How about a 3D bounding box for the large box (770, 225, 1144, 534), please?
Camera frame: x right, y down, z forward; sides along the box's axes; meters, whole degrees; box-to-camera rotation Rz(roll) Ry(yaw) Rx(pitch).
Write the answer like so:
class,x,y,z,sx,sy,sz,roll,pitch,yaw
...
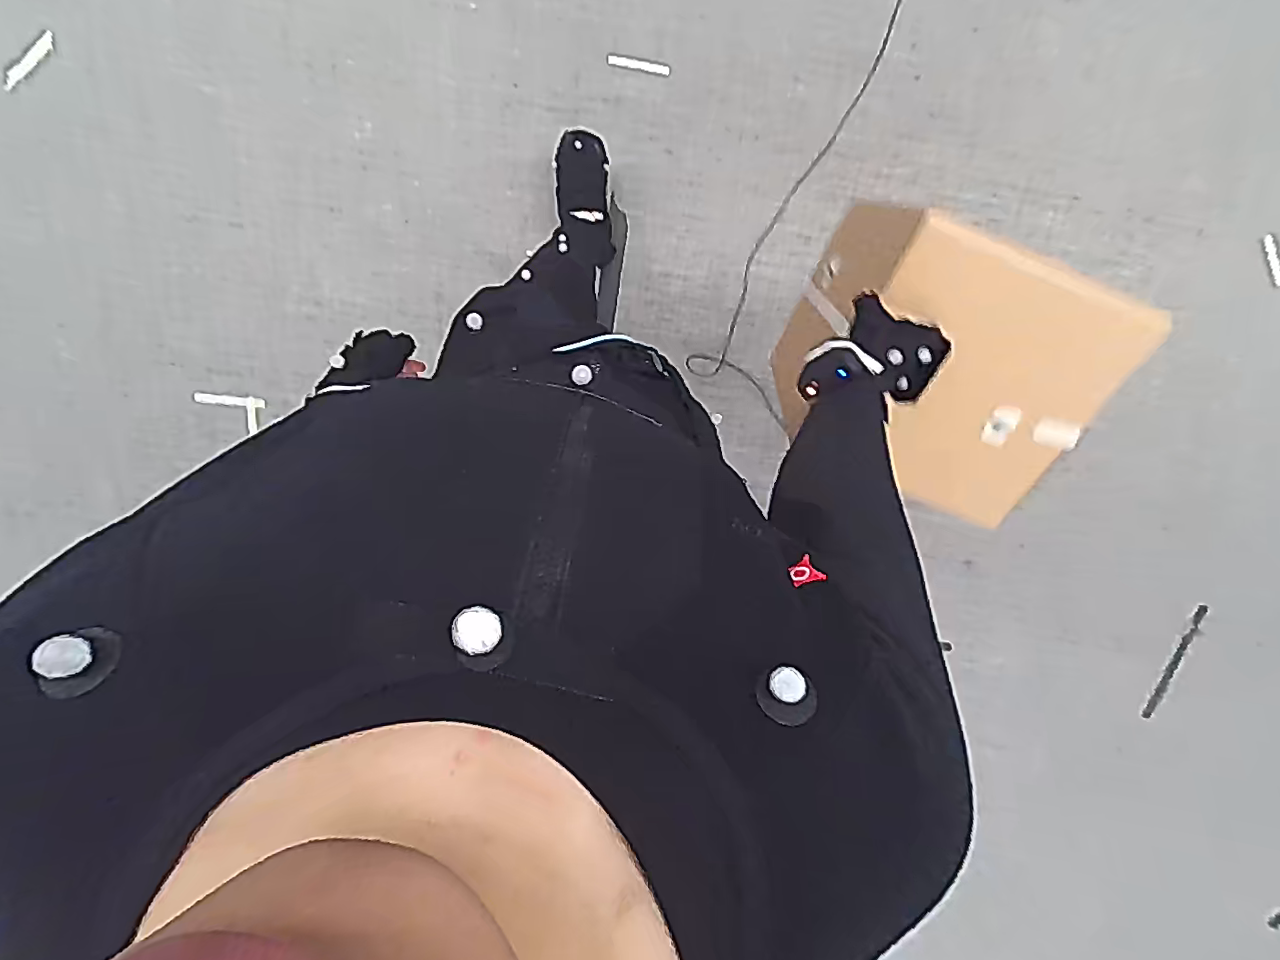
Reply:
class,x,y,z,sx,sy,sz,roll,pitch,yaw
large box,0.428,-0.183,0.859,0.320,0.408,0.320,26,118,-3
